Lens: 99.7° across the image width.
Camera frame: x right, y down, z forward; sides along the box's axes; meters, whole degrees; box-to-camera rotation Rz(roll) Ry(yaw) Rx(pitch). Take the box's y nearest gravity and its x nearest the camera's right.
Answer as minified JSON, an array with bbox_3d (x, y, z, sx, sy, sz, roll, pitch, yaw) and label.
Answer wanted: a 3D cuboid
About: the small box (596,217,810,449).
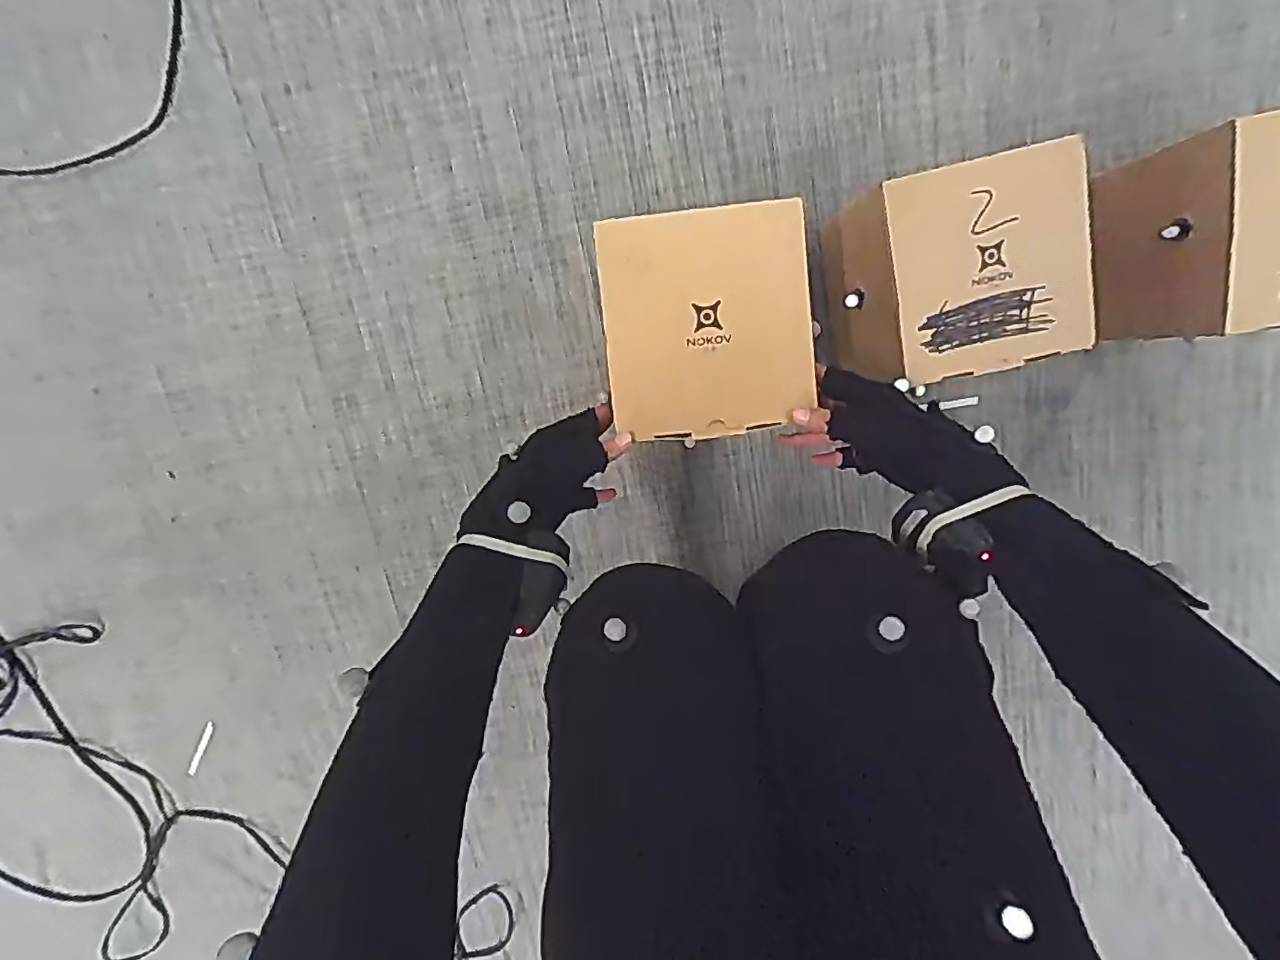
[{"bbox_3d":[0.054,-0.125,0.523,0.168,0.176,0.179,-6,95,3],"label":"small box"}]

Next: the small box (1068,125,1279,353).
[{"bbox_3d":[0.569,-0.229,0.539,0.168,0.176,0.179,-9,102,4],"label":"small box"}]
